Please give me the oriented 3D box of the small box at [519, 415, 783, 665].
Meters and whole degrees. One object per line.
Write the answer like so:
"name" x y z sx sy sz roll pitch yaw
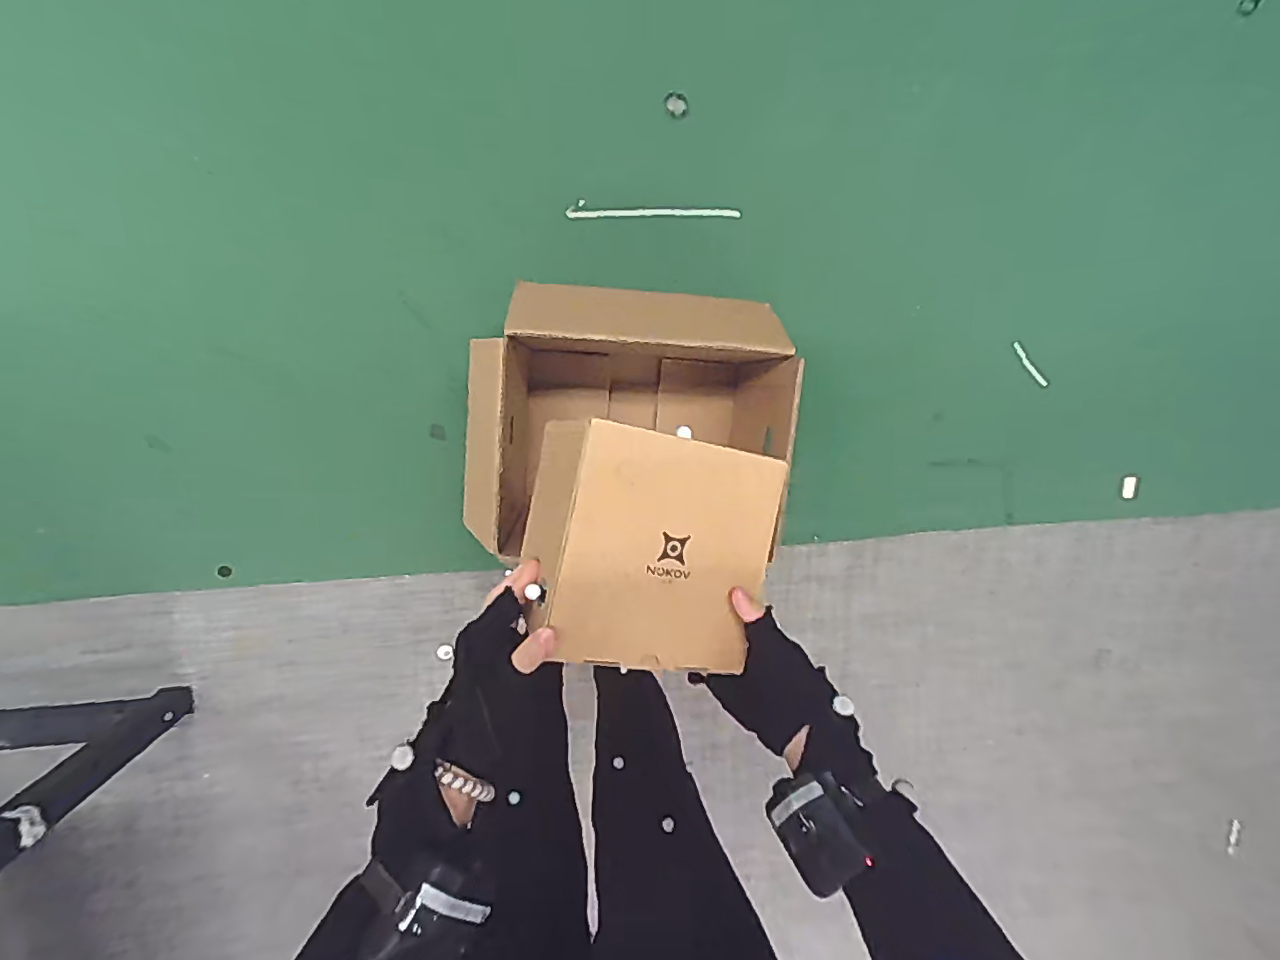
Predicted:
"small box" -0.004 0.044 0.480 0.168 0.176 0.179 10 93 -21
